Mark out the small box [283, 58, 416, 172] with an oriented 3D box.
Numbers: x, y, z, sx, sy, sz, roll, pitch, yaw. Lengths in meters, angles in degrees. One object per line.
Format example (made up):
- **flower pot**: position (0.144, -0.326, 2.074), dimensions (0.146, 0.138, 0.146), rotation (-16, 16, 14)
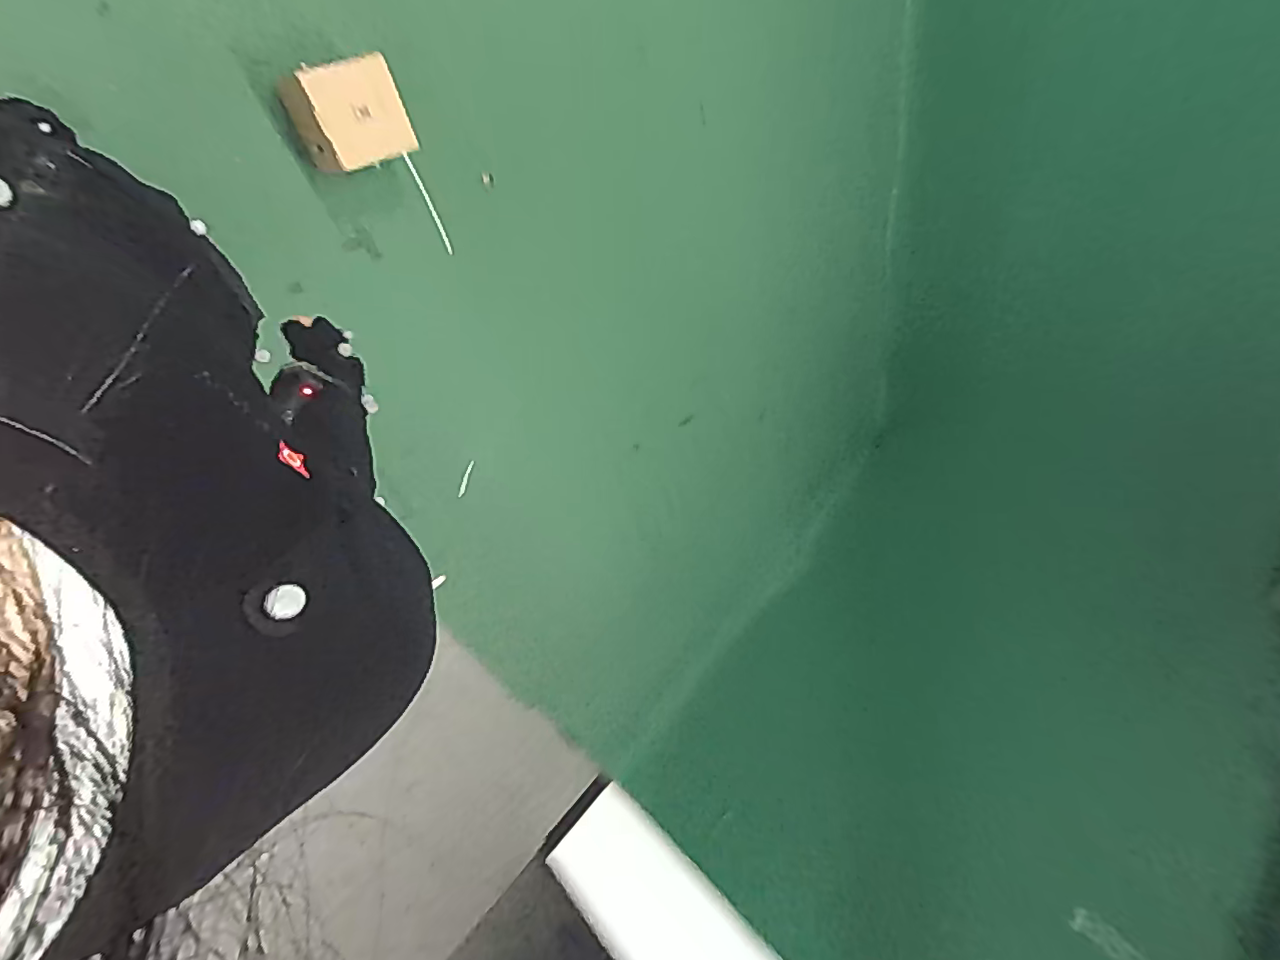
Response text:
- **small box**: position (-0.614, -0.760, 1.135), dimensions (0.179, 0.176, 0.168), rotation (-38, 135, -26)
